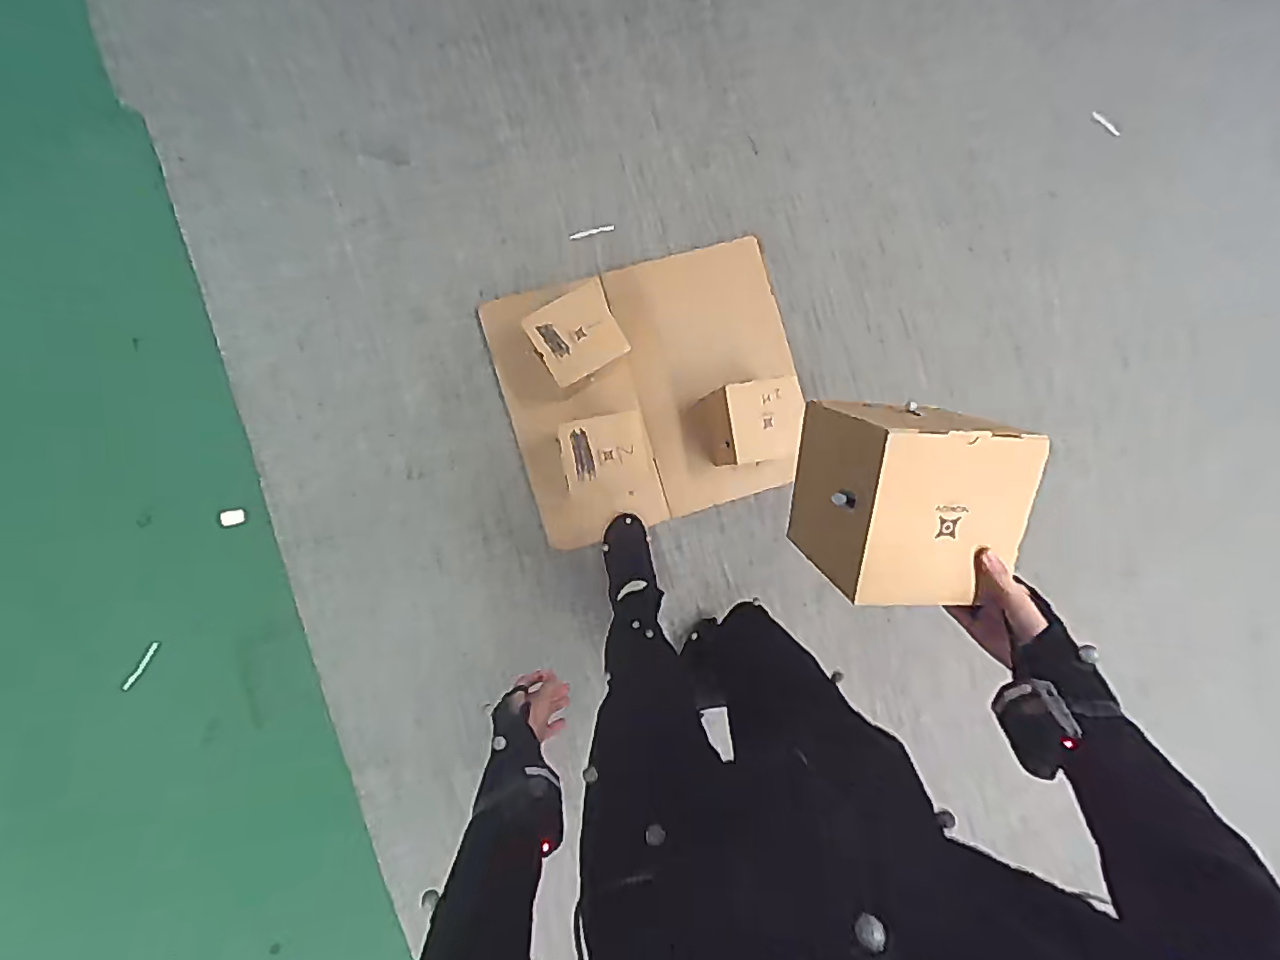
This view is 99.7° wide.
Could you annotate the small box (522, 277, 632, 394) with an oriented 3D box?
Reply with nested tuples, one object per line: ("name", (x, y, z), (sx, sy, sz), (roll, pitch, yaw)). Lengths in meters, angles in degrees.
("small box", (-0.138, -0.307, 1.189), (0.179, 0.176, 0.168), (-31, 94, -7))

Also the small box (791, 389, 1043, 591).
("small box", (0.277, 0.003, 0.587), (0.168, 0.176, 0.179), (1, 106, -8))

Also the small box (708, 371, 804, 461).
("small box", (0.263, -0.138, 1.233), (0.168, 0.176, 0.179), (-9, 91, -8))
